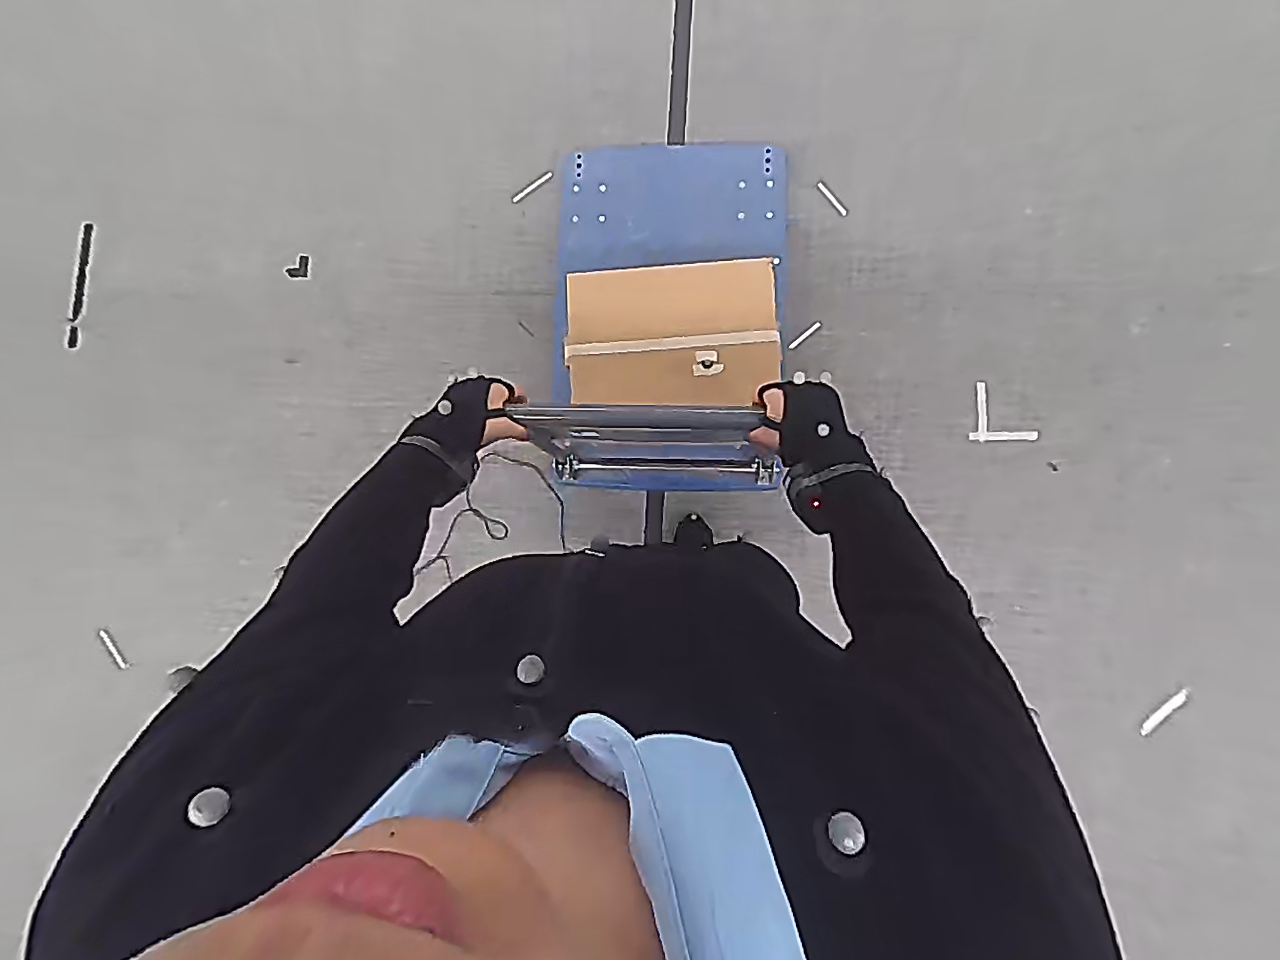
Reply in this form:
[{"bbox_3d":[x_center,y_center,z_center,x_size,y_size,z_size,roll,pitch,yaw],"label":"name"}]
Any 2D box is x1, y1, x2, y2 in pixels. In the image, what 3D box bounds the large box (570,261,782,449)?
[{"bbox_3d":[0.075,-0.250,1.200,0.408,0.320,0.320,-3,87,4],"label":"large box"}]
